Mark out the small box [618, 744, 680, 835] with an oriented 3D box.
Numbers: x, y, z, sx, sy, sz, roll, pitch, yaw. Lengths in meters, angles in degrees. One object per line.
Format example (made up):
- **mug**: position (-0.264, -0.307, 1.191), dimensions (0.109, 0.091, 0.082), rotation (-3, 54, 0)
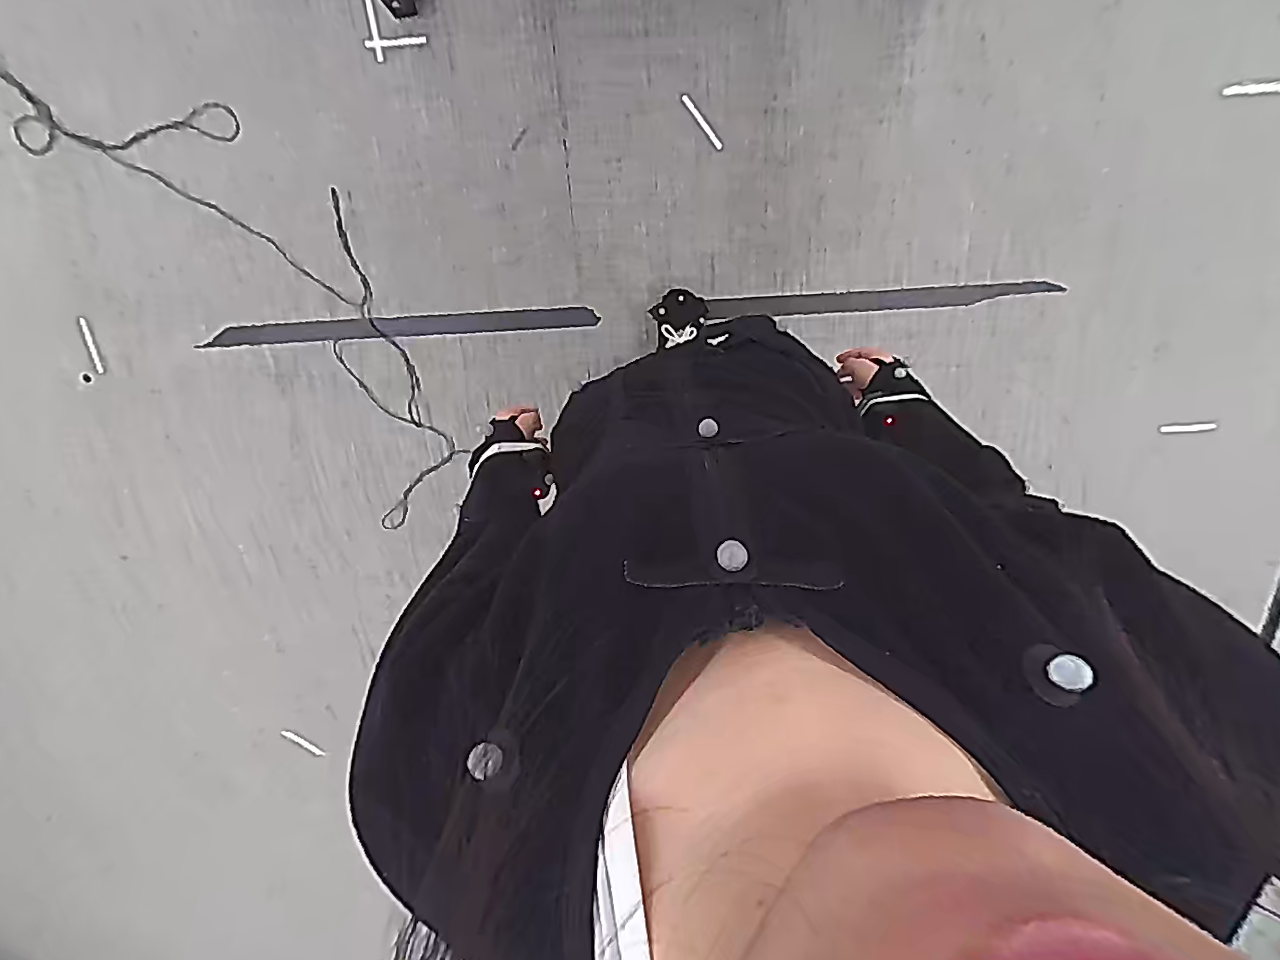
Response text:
- **small box**: position (0.029, 0.988, 1.733), dimensions (0.168, 0.176, 0.179), rotation (-13, 108, 2)
